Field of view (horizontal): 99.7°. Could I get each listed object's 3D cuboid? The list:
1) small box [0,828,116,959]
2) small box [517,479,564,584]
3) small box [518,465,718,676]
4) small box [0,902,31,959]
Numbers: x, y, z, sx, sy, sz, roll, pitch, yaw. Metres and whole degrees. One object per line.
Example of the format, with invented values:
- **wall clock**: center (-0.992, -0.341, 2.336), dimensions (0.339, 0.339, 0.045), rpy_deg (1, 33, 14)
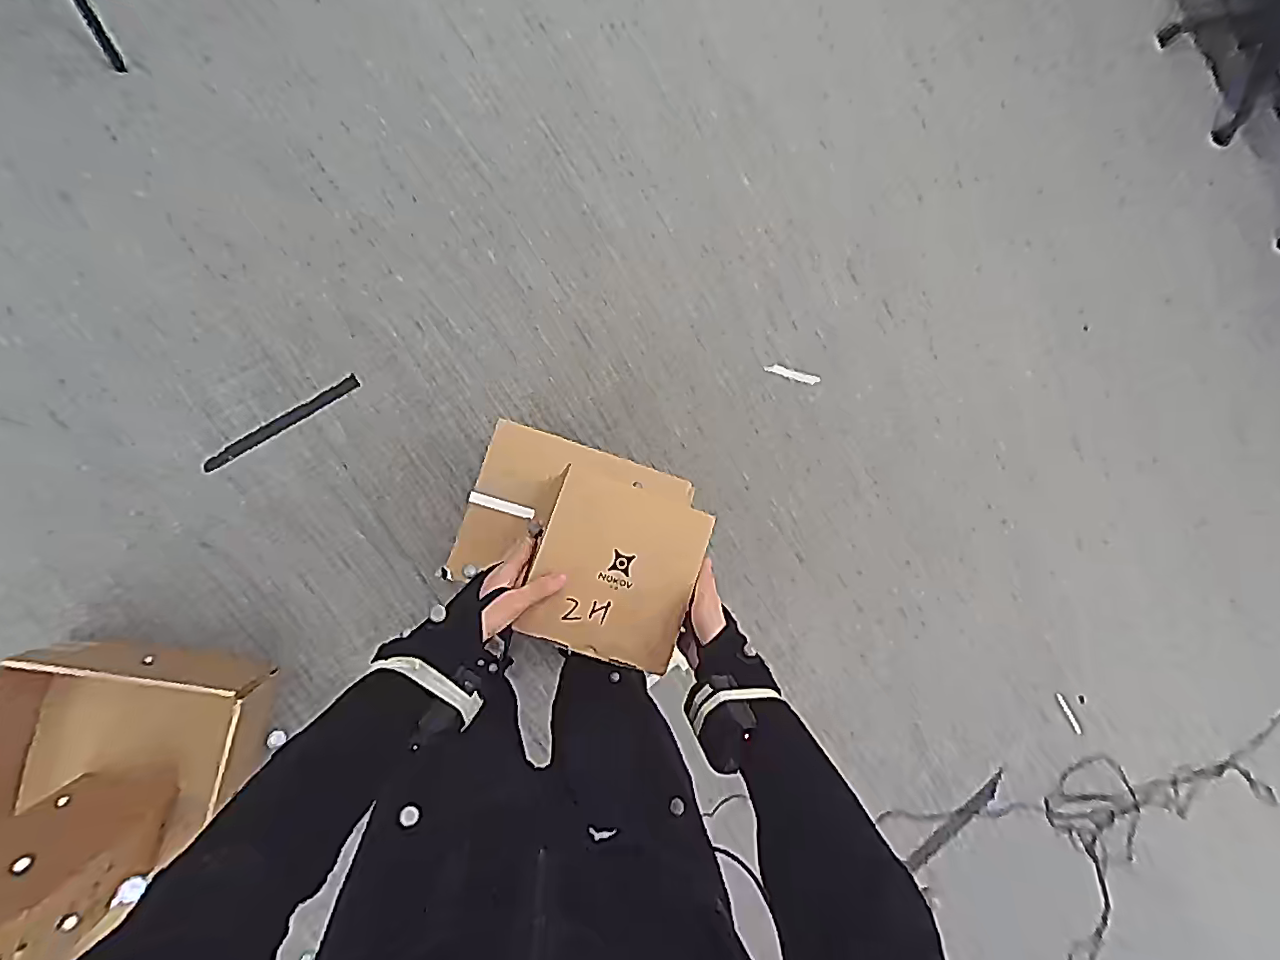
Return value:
- **small box**: center (-0.973, 0.666, 0.822), dimensions (0.179, 0.176, 0.168), rpy_deg (18, 82, -11)
- **small box**: center (-0.107, 0.110, 0.946), dimensions (0.168, 0.176, 0.179), rpy_deg (19, 82, -12)
- **small box**: center (-0.036, 0.098, 0.627), dimensions (0.168, 0.176, 0.179), rpy_deg (21, 82, -10)
- **small box**: center (-0.944, 0.647, 0.662), dimensions (0.179, 0.176, 0.168), rpy_deg (17, 83, -11)
